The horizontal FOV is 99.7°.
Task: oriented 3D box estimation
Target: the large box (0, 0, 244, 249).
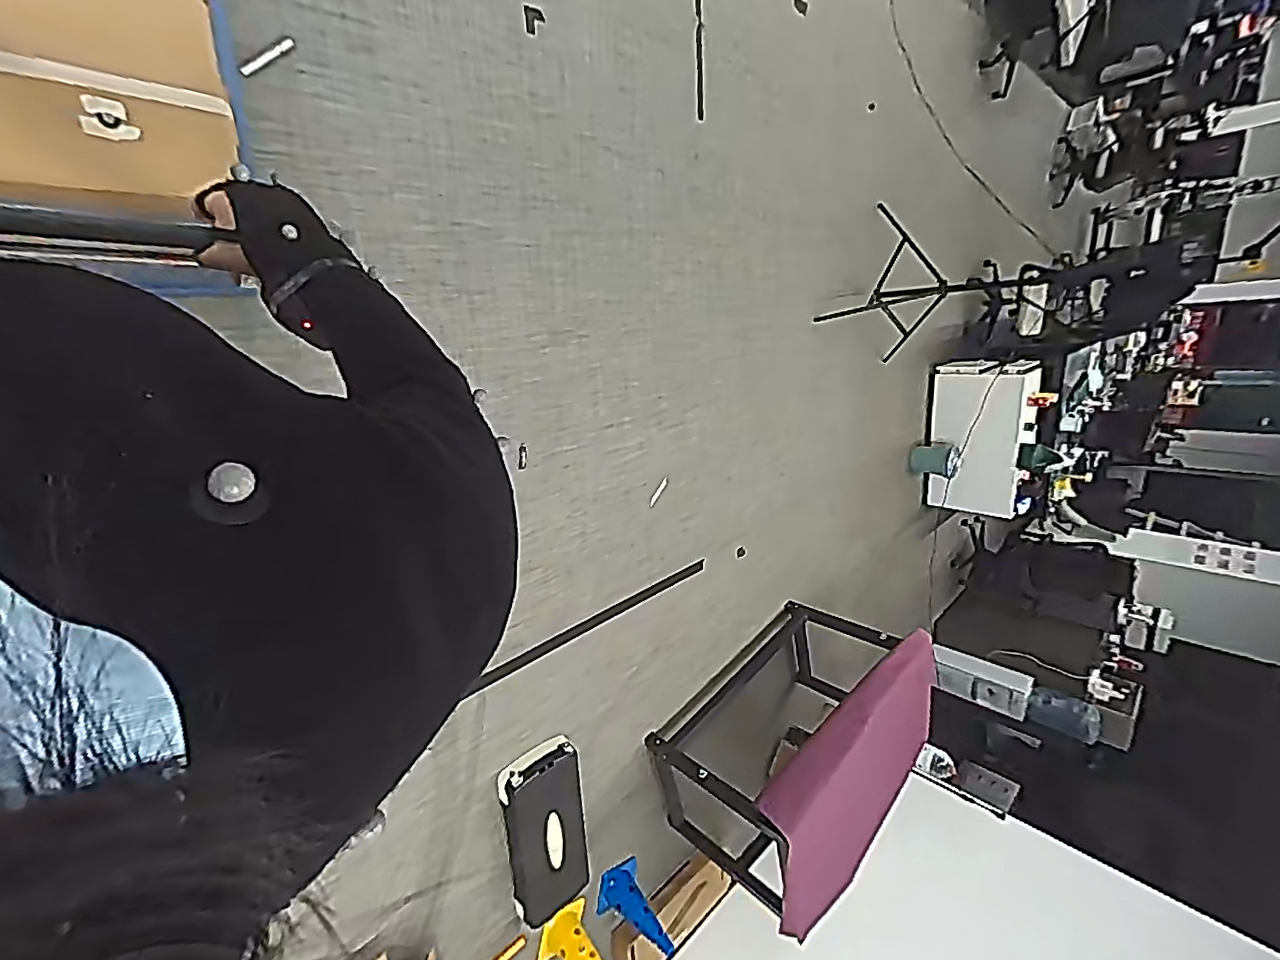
[{"bbox_3d":[-0.862,-0.530,0.770,0.408,0.320,0.320,-15,109,-42],"label":"large box"}]
